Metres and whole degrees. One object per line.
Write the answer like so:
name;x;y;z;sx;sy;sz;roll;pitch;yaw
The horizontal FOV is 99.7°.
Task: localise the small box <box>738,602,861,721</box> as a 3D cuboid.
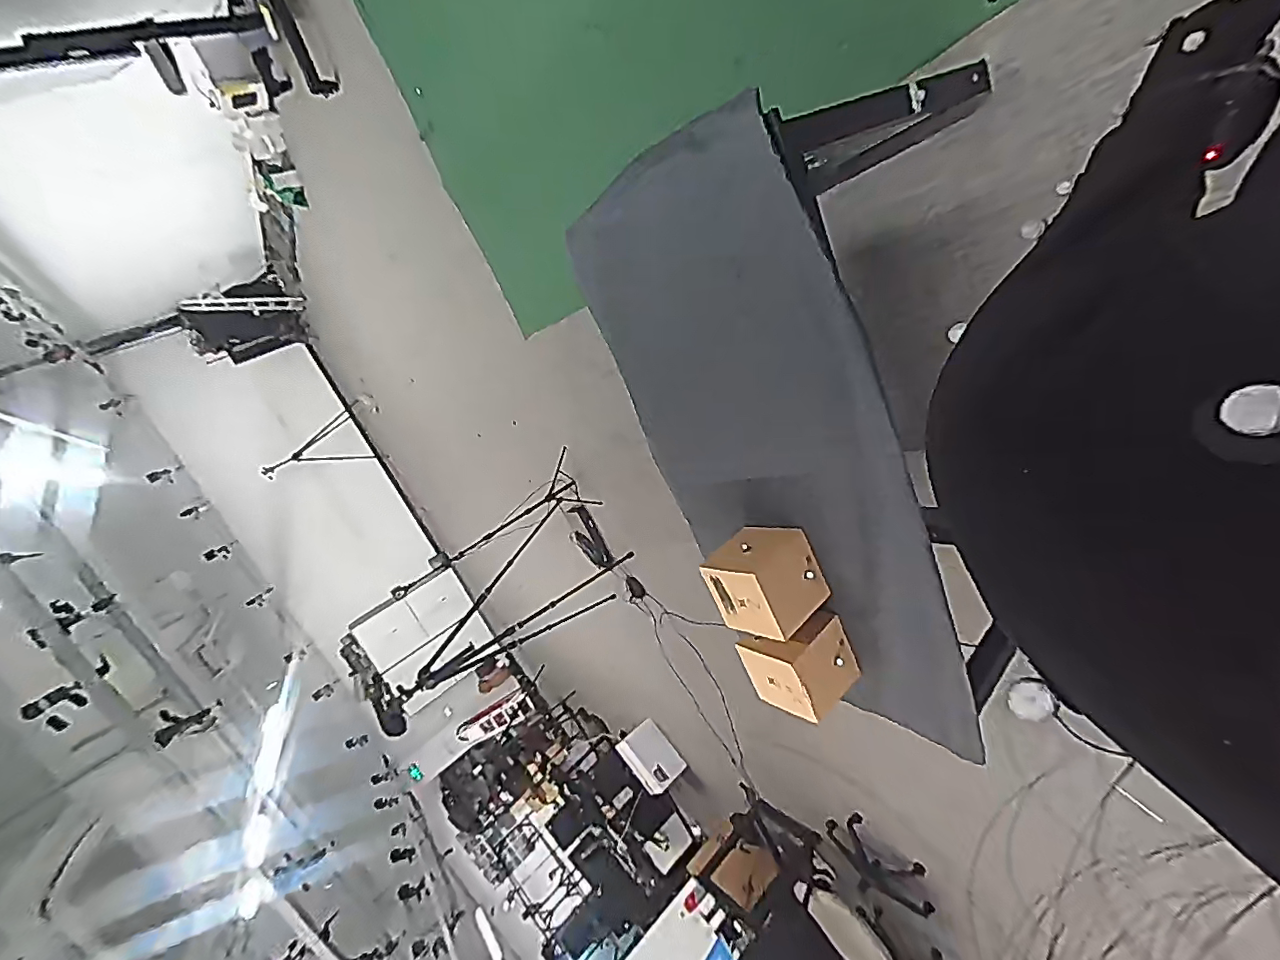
small box;0.360;0.398;1.221;0.179;0.176;0.168;-2;118;57
